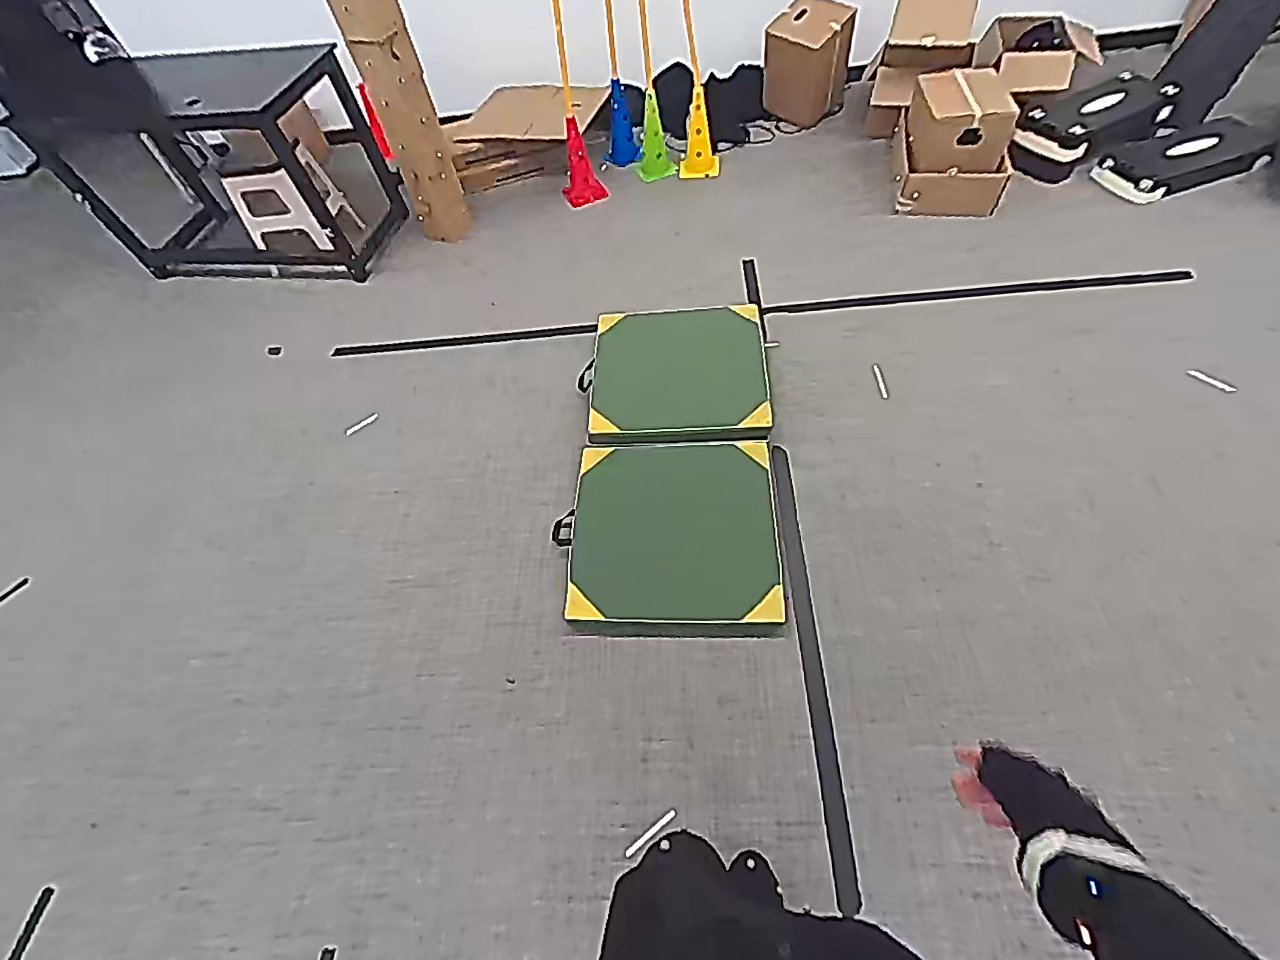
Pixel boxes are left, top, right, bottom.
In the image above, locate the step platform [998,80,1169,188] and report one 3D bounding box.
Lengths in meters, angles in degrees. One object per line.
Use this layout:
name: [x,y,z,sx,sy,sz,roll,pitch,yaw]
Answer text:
step platform: [2.011,-1.581,2.457,0.684,0.204,0.286,-27,58,-11]
